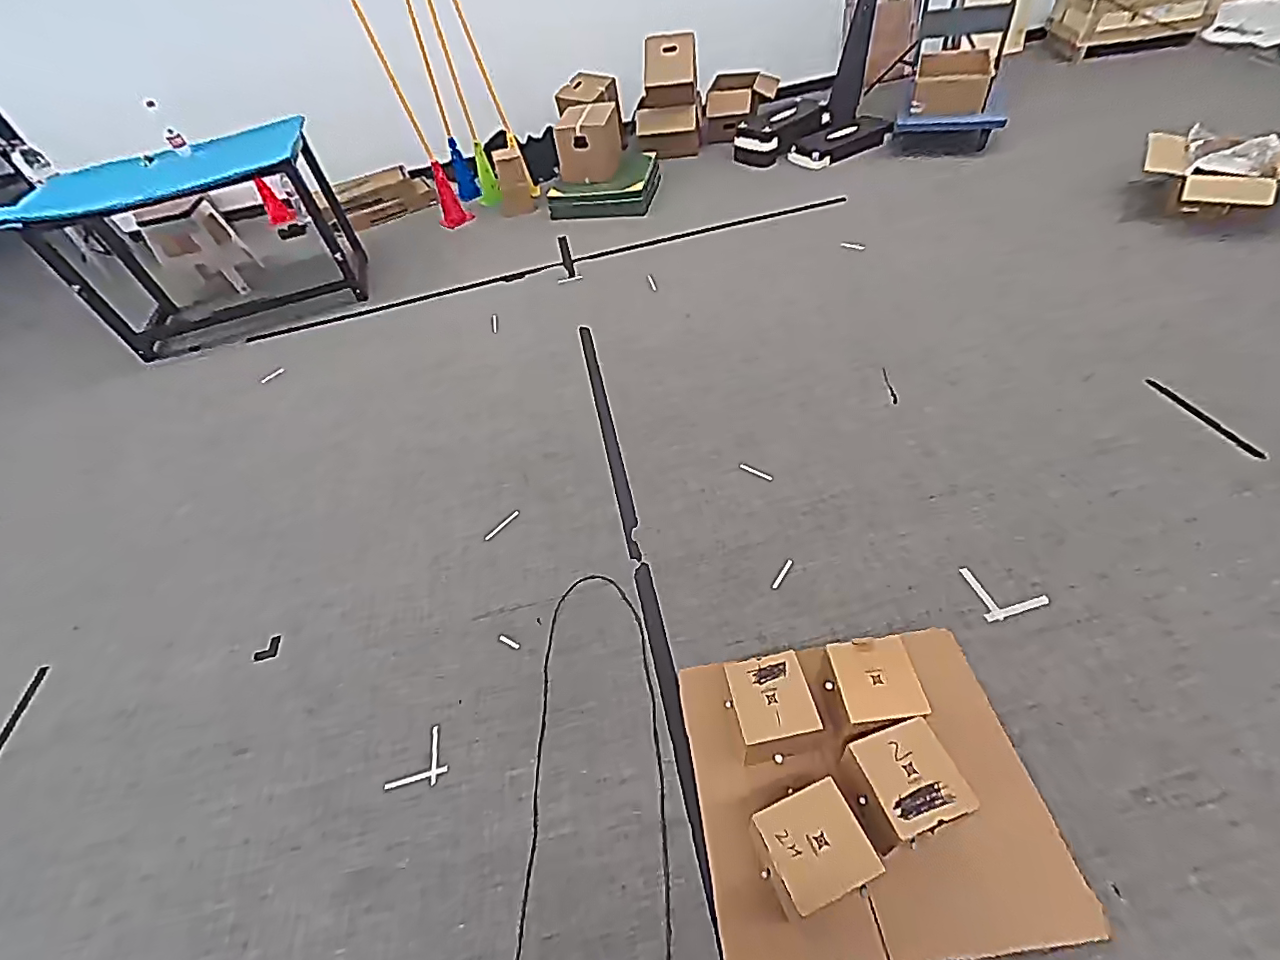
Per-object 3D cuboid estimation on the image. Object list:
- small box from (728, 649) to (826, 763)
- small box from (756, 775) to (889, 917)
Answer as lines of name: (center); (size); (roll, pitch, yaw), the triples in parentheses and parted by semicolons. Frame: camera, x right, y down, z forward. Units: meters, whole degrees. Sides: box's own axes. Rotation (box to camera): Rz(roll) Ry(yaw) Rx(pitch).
small box: (0.298, 0.511, 1.219); (0.168, 0.176, 0.179); (-12, 48, -1)
small box: (0.337, 0.703, 1.038); (0.179, 0.176, 0.168); (-21, 47, -9)
